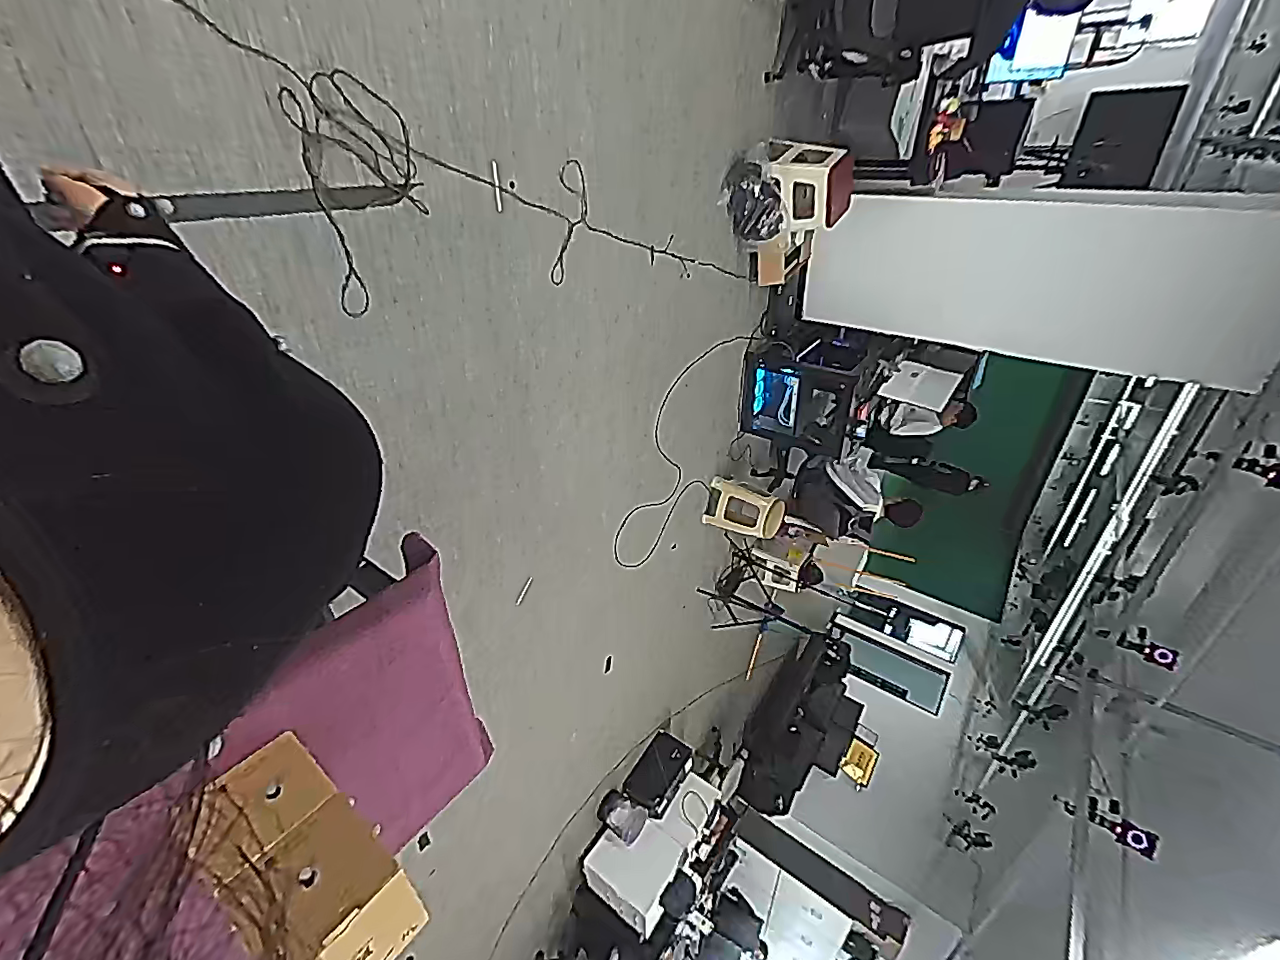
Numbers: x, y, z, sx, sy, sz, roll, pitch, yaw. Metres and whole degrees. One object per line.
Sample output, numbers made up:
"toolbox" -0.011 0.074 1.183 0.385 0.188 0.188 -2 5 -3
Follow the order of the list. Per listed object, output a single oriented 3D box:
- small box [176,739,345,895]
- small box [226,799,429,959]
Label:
"small box" -0.567 0.539 0.838 0.168 0.176 0.179 -35 137 -44
"small box" -0.433 0.593 0.760 0.168 0.176 0.179 -36 137 -43
